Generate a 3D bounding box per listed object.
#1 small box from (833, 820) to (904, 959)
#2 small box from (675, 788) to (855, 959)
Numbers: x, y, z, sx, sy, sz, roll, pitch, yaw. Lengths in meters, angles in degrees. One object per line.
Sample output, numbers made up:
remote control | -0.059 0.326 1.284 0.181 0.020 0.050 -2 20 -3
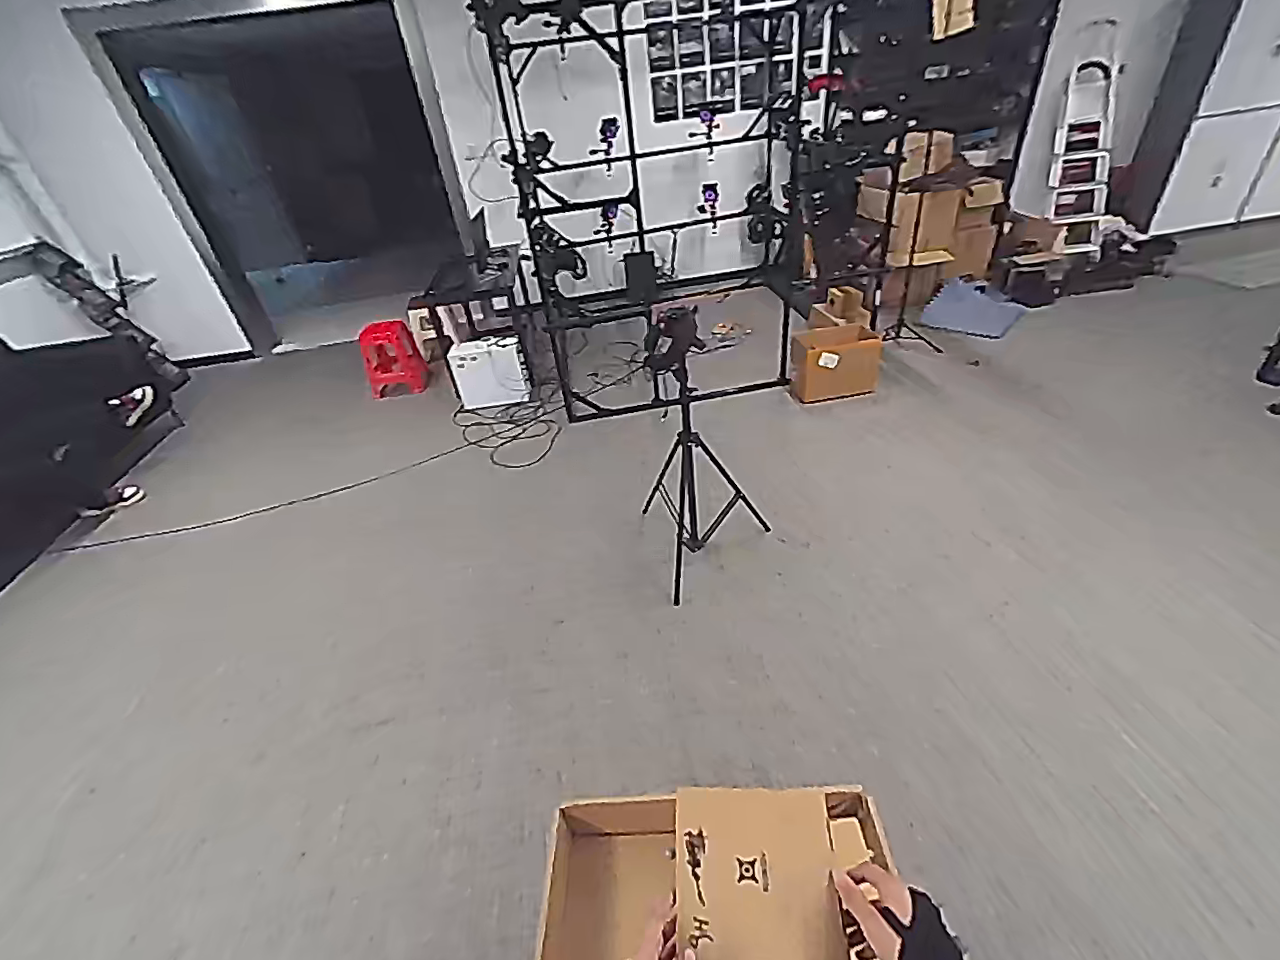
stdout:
small box | 0.264 0.638 0.797 0.168 0.176 0.179 -6 34 2
small box | 0.132 0.477 0.630 0.179 0.176 0.168 -2 45 7
